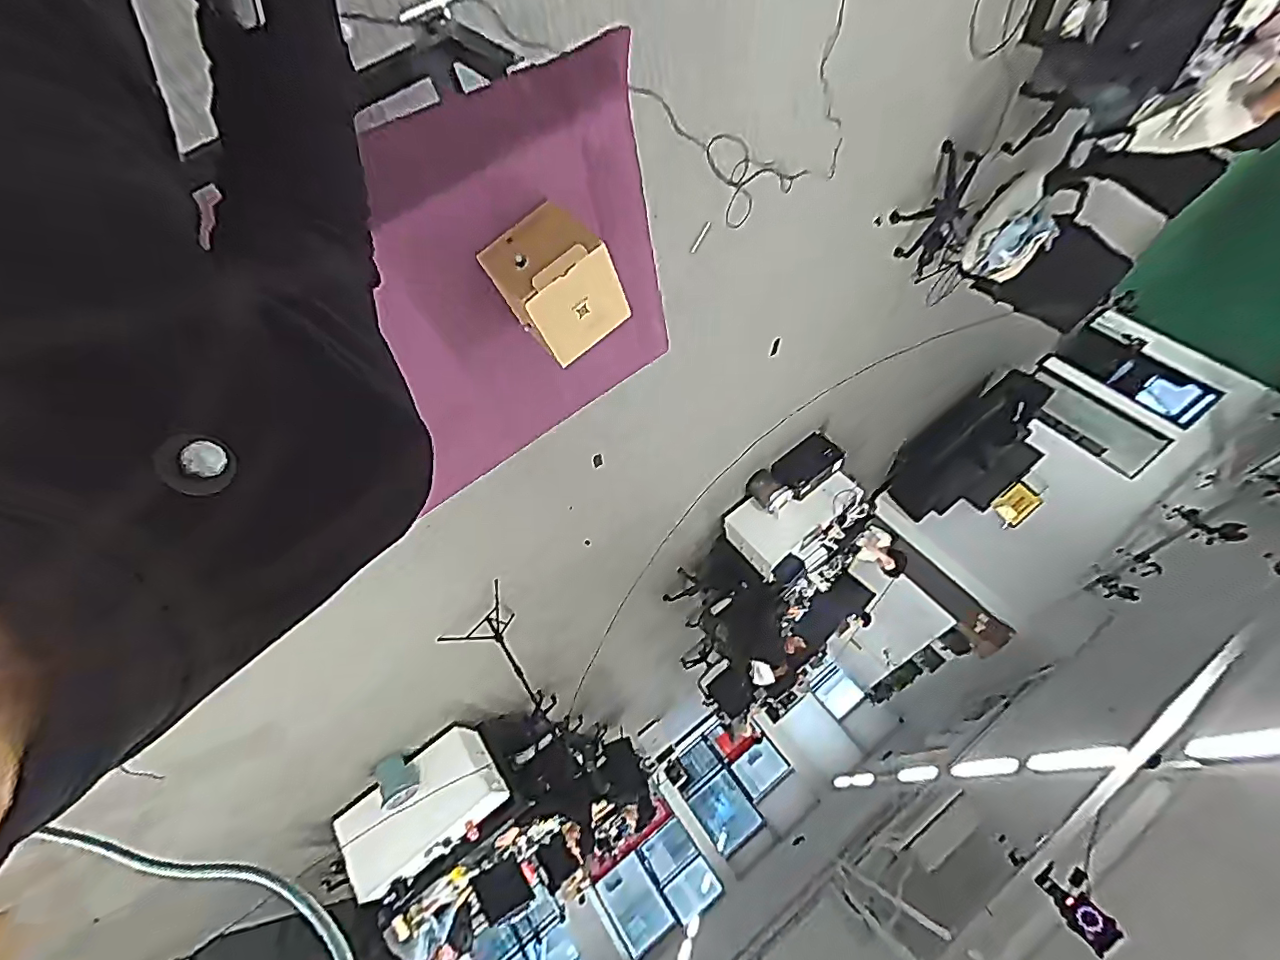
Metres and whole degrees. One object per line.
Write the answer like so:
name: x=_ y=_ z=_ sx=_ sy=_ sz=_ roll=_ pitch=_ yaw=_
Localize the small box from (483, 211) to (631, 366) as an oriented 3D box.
small box: x=-0.146 y=-0.345 z=0.960 sx=0.168 sy=0.176 sz=0.179 roll=-39 pitch=152 yaw=-4
